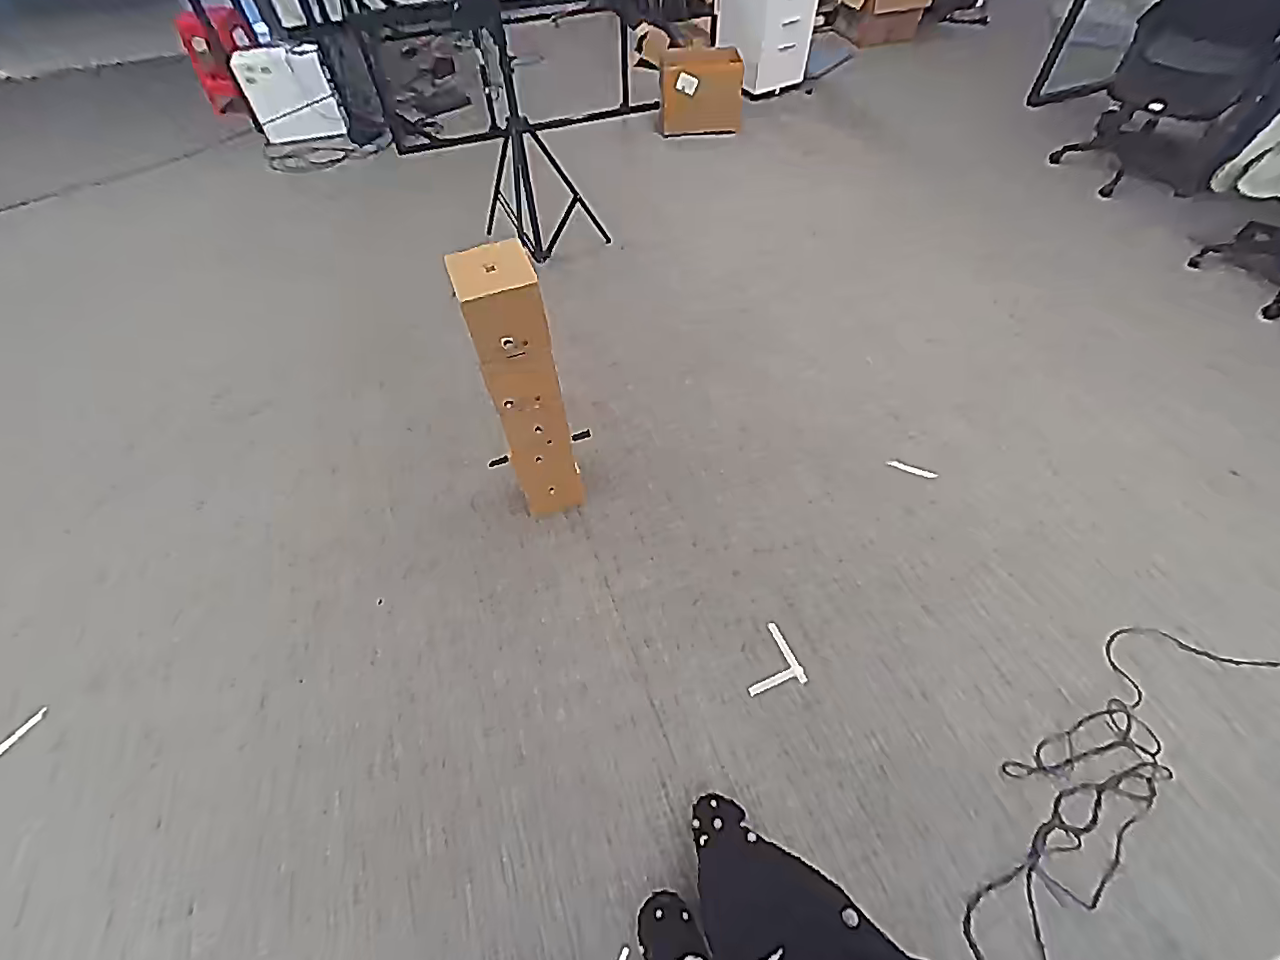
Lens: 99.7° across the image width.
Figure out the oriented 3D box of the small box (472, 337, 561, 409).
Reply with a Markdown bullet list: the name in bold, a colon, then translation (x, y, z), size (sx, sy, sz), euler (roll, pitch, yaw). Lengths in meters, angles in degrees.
- **small box**: translation (-0.298, -0.292, 1.304), size (0.168, 0.176, 0.179), euler (-17, 56, -10)

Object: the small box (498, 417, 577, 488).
- **small box**: translation (-0.295, -0.099, 1.569), size (0.179, 0.176, 0.168), euler (-16, 57, -9)

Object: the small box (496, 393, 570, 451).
- **small box**: translation (-0.291, -0.197, 1.438), size (0.168, 0.176, 0.179), euler (-16, 57, -10)

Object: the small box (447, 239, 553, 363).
- **small box**: translation (-0.300, -0.386, 1.172), size (0.168, 0.176, 0.179), euler (-19, 58, -10)

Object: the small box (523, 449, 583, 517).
- **small box**: translation (-0.286, -0.009, 1.707), size (0.179, 0.176, 0.168), euler (-18, 57, -11)
